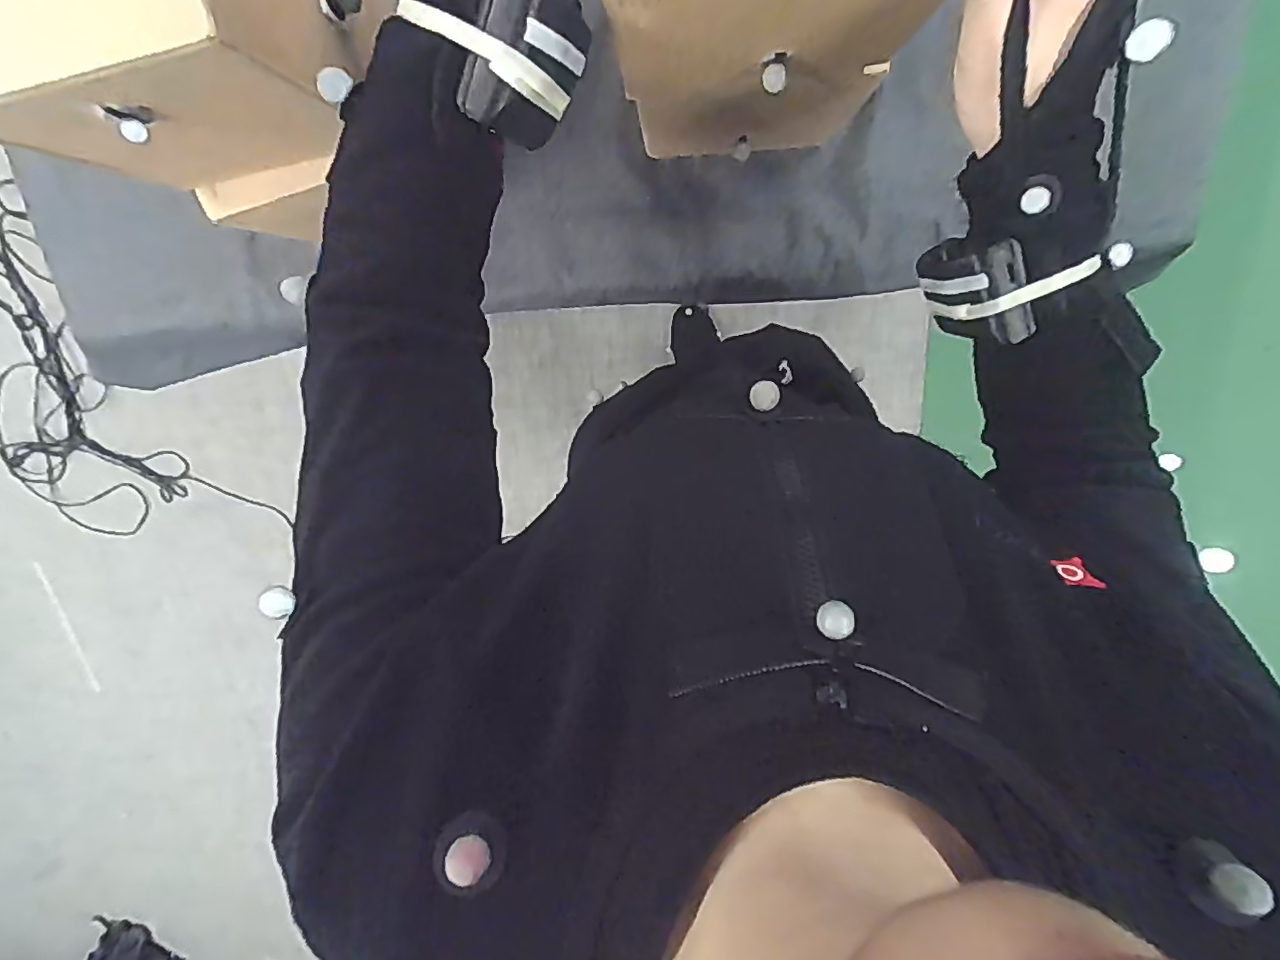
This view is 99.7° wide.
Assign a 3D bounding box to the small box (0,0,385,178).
[{"bbox_3d":[-0.285,-0.290,0.306,0.179,0.176,0.168,-9,108,5],"label":"small box"}]

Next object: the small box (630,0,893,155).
[{"bbox_3d":[0.082,-0.373,0.426,0.179,0.176,0.168,-2,108,4],"label":"small box"}]

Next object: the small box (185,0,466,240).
[{"bbox_3d":[-0.277,-0.325,0.465,0.168,0.176,0.179,-12,107,8],"label":"small box"}]
